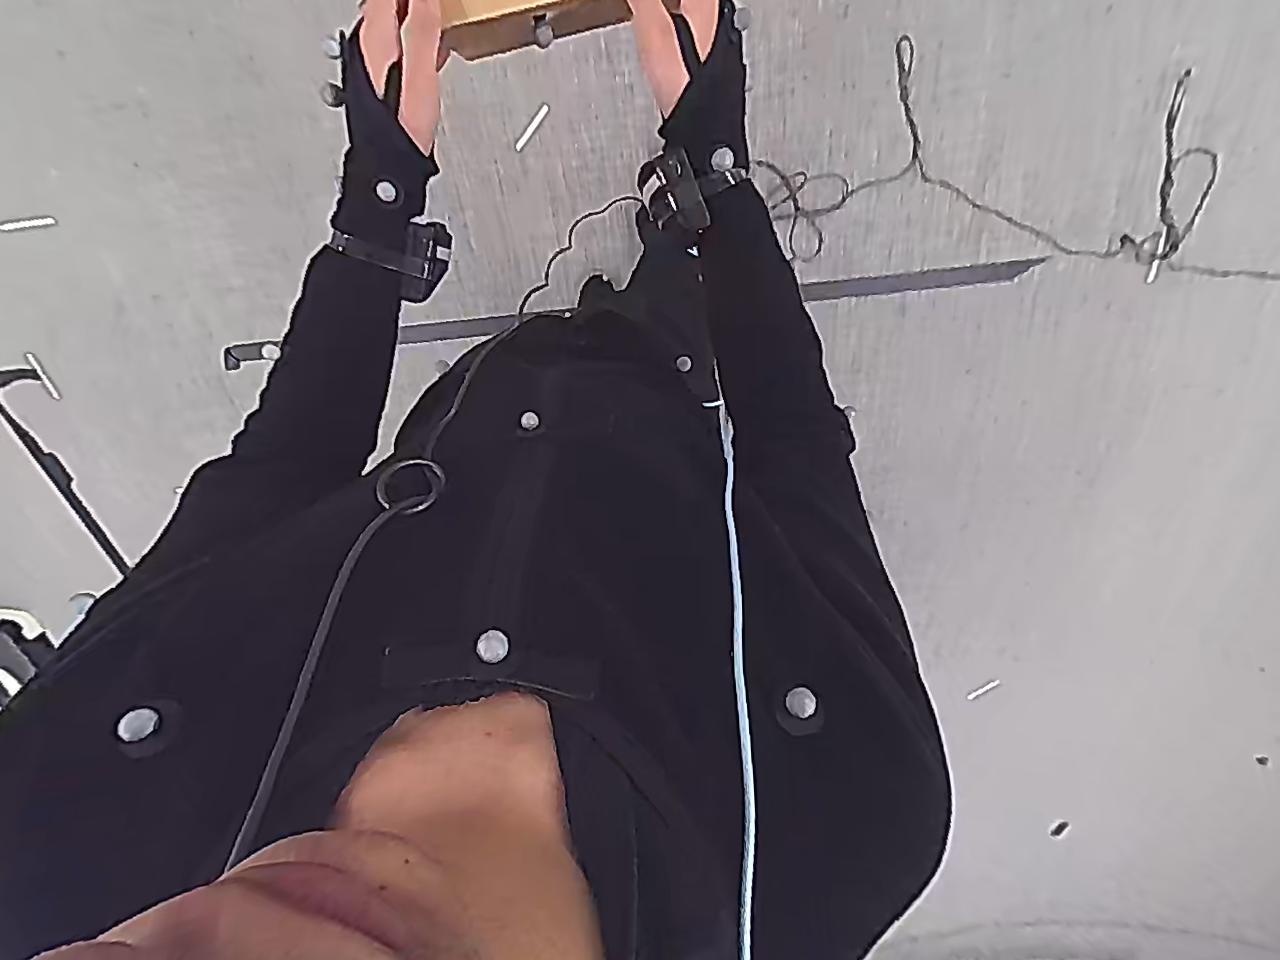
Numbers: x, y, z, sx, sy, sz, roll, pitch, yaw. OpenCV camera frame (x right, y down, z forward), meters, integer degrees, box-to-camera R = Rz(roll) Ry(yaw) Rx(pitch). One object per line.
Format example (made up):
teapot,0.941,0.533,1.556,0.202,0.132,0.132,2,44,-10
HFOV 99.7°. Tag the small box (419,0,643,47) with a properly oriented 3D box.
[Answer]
small box,-0.083,-0.436,0.386,0.179,0.176,0.168,-12,124,3
